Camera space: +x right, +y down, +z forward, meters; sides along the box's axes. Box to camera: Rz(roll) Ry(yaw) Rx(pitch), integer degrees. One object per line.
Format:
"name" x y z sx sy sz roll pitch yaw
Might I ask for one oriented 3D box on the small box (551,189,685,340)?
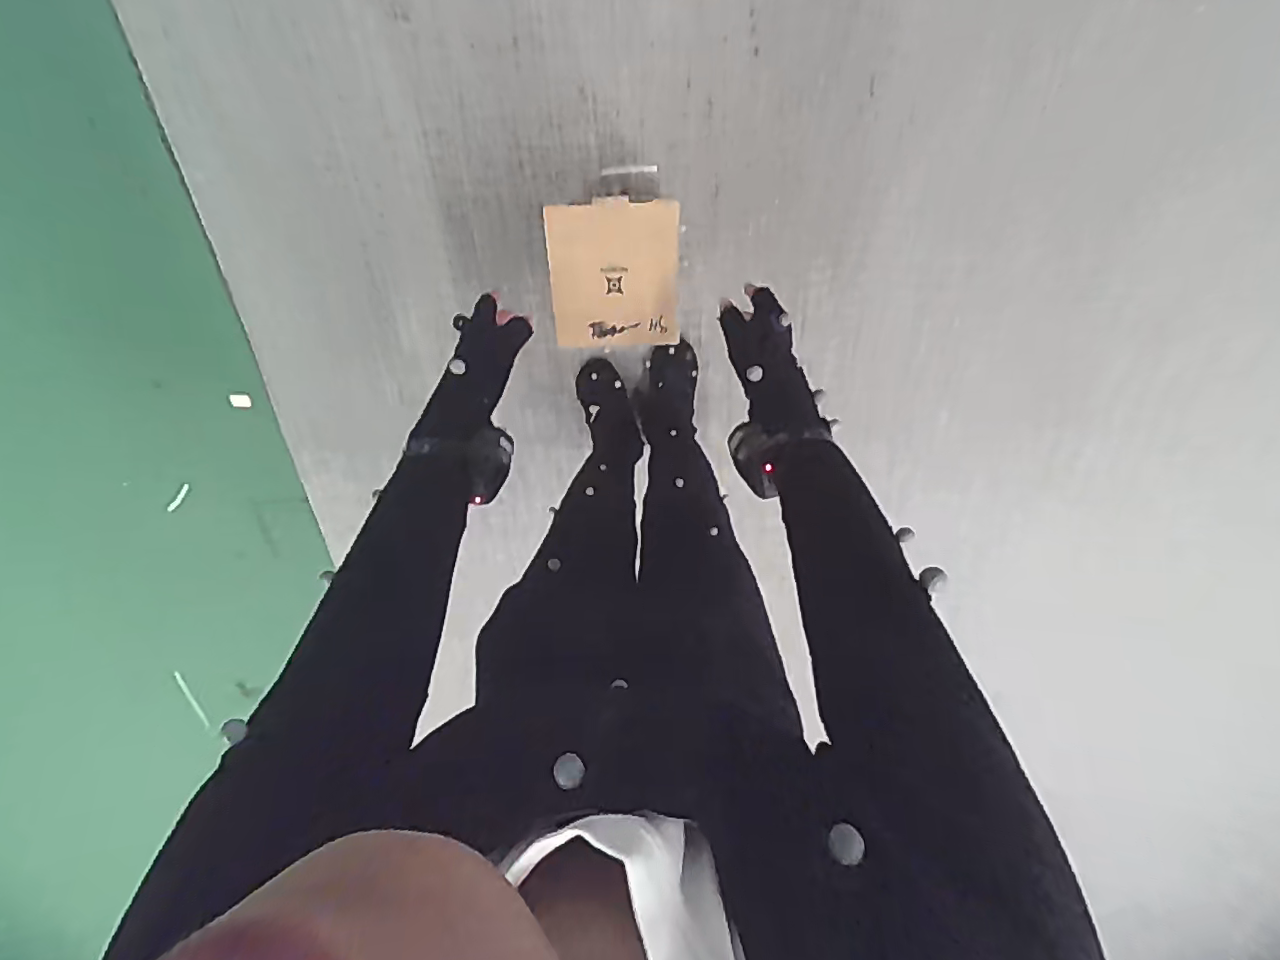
"small box" -0.024 -0.303 0.756 0.168 0.176 0.179 -1 118 3
